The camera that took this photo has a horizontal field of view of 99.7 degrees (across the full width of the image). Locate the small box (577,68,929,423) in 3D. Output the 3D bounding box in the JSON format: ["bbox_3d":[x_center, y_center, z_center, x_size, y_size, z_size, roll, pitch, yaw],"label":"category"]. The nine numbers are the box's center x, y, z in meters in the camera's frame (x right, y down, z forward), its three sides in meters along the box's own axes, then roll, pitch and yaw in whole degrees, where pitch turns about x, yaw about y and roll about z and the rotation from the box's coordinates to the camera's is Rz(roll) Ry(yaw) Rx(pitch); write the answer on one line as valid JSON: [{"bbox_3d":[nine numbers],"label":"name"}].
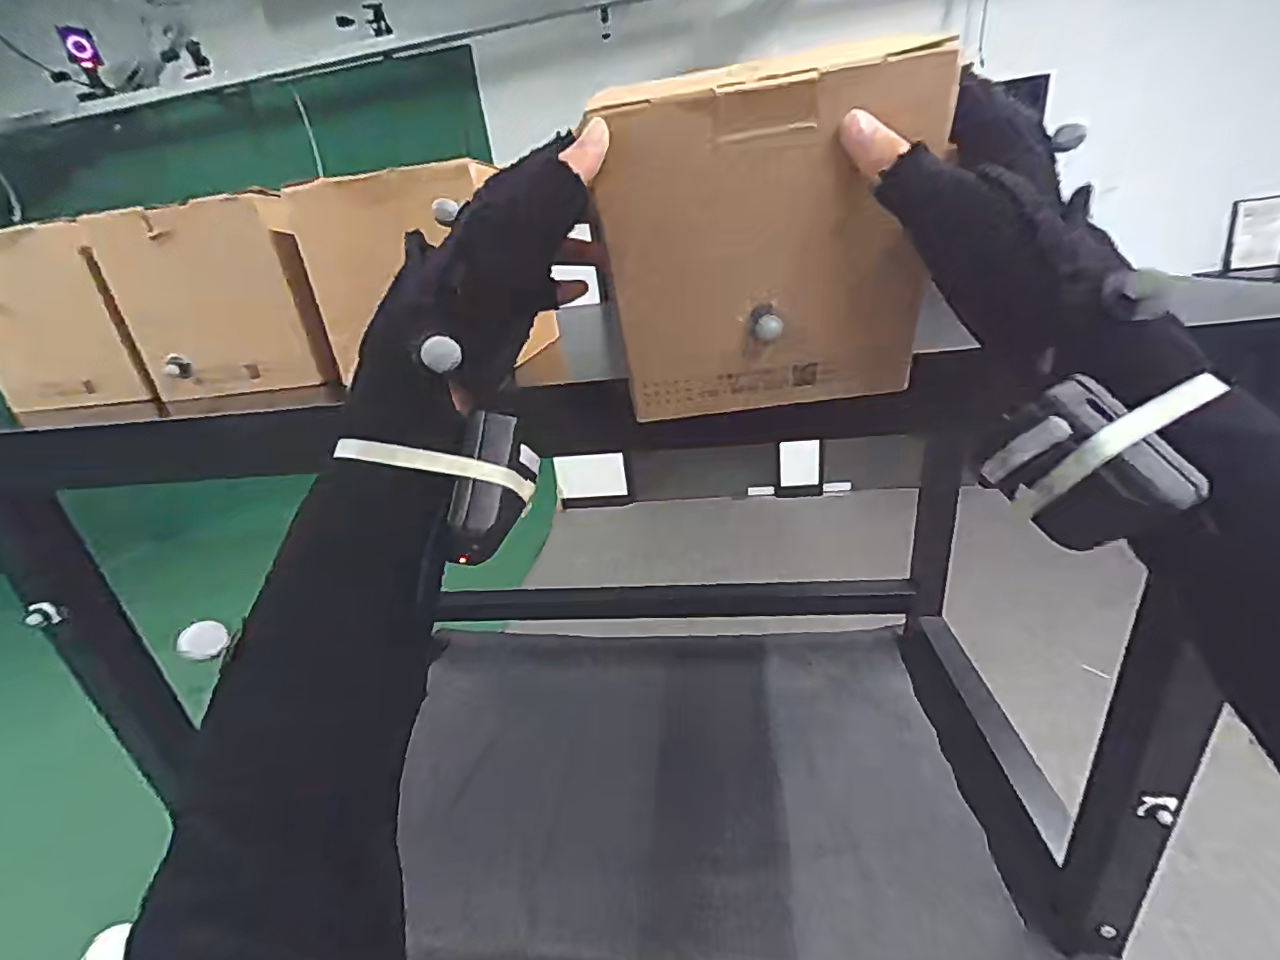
[{"bbox_3d":[0.065,-0.156,0.364,0.168,0.176,0.179,-6,36,7],"label":"small box"}]
